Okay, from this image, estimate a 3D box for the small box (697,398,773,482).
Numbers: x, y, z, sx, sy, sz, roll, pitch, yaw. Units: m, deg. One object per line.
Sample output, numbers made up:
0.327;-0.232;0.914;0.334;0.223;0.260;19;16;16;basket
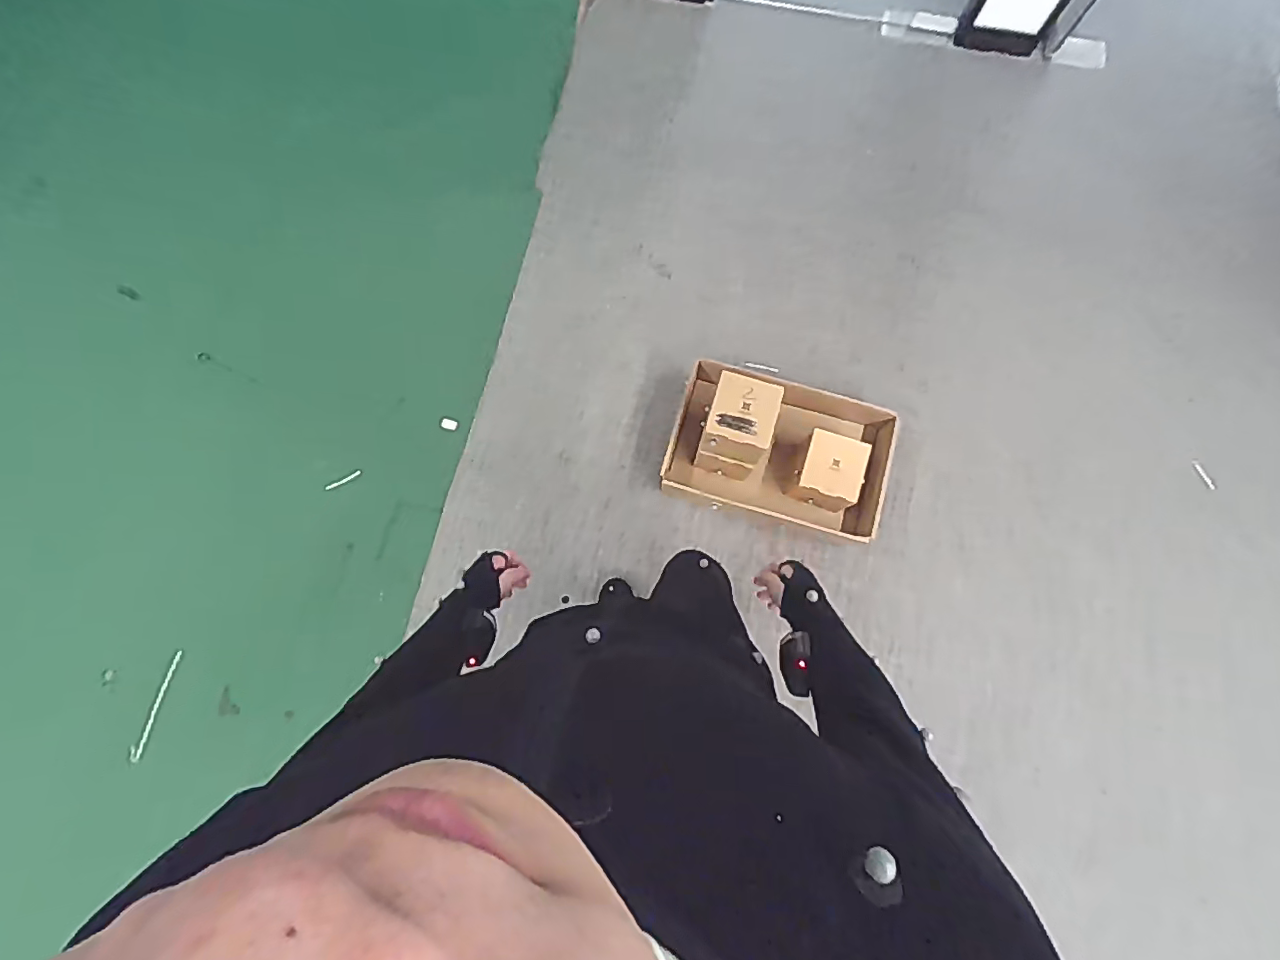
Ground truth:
0.272;-0.112;1.586;0.168;0.176;0.179;17;78;4;small box
